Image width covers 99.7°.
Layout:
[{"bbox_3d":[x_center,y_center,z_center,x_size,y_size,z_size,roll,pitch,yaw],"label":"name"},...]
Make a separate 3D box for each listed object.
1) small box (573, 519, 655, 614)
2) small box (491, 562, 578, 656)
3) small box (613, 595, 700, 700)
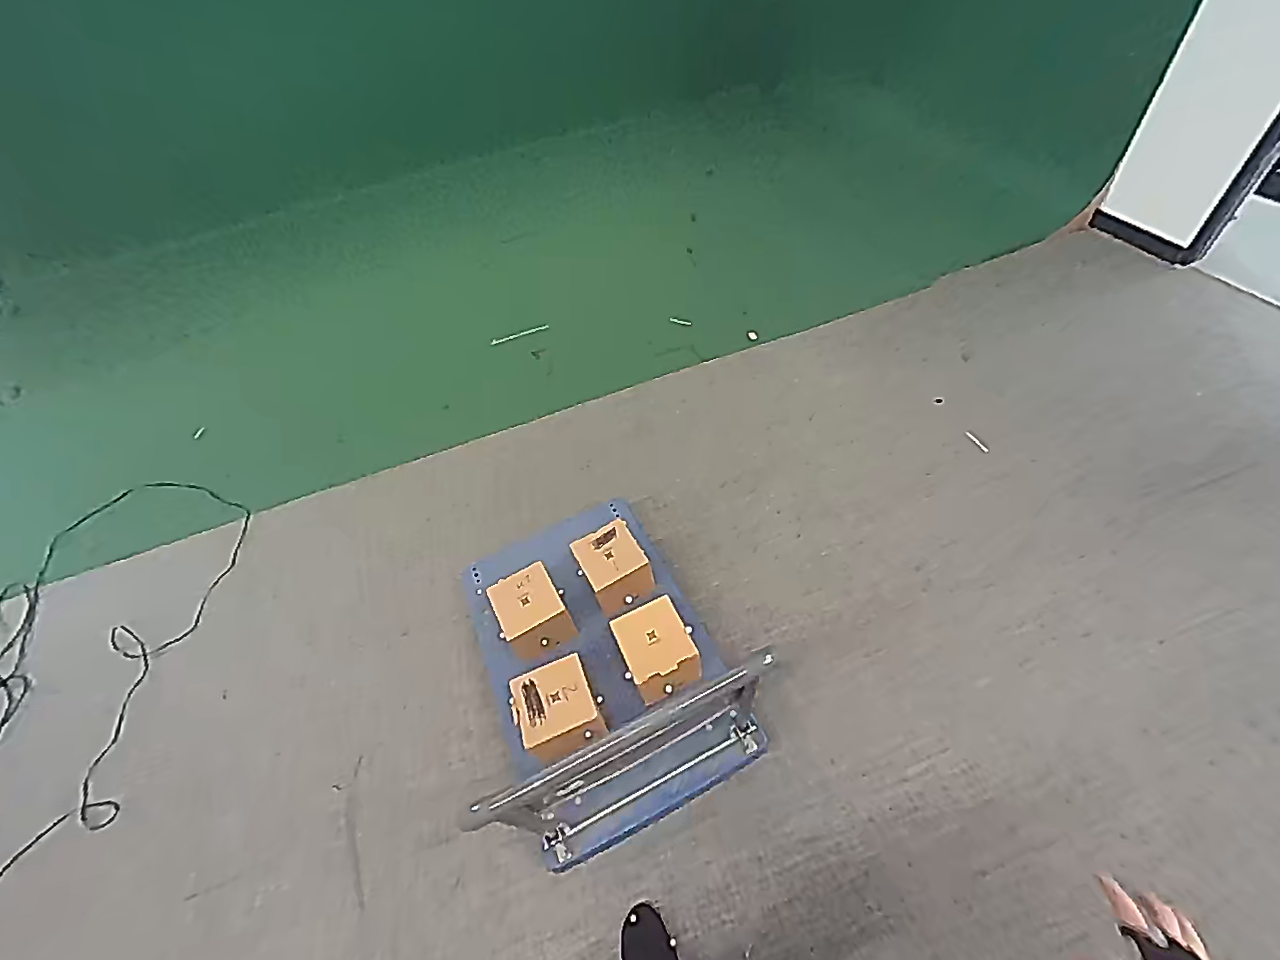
[{"bbox_3d":[-0.072,0.253,1.560,0.168,0.176,0.179,-28,54,-12],"label":"small box"},{"bbox_3d":[-0.289,0.367,1.505,0.168,0.176,0.179,-27,52,-13],"label":"small box"},{"bbox_3d":[0.044,0.435,1.397,0.168,0.176,0.179,-24,52,-10],"label":"small box"}]
